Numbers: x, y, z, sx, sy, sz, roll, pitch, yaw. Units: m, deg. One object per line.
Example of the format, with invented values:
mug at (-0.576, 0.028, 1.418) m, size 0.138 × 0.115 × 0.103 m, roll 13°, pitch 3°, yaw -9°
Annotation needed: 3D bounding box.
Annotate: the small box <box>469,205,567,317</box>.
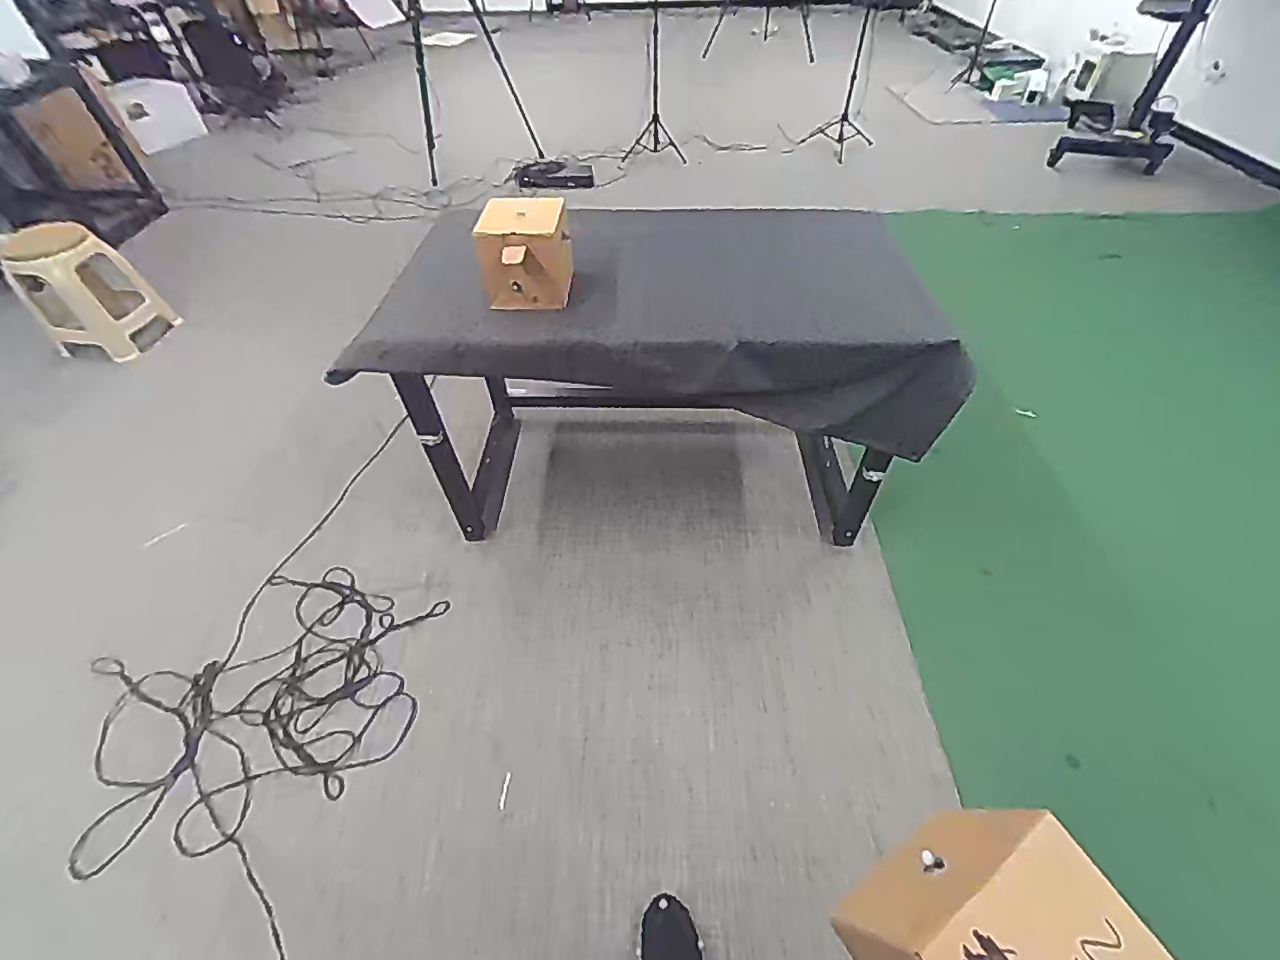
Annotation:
small box at (-0.253, -0.474, 1.168) m, size 0.168 × 0.176 × 0.179 m, roll 0°, pitch 48°, yaw 1°
